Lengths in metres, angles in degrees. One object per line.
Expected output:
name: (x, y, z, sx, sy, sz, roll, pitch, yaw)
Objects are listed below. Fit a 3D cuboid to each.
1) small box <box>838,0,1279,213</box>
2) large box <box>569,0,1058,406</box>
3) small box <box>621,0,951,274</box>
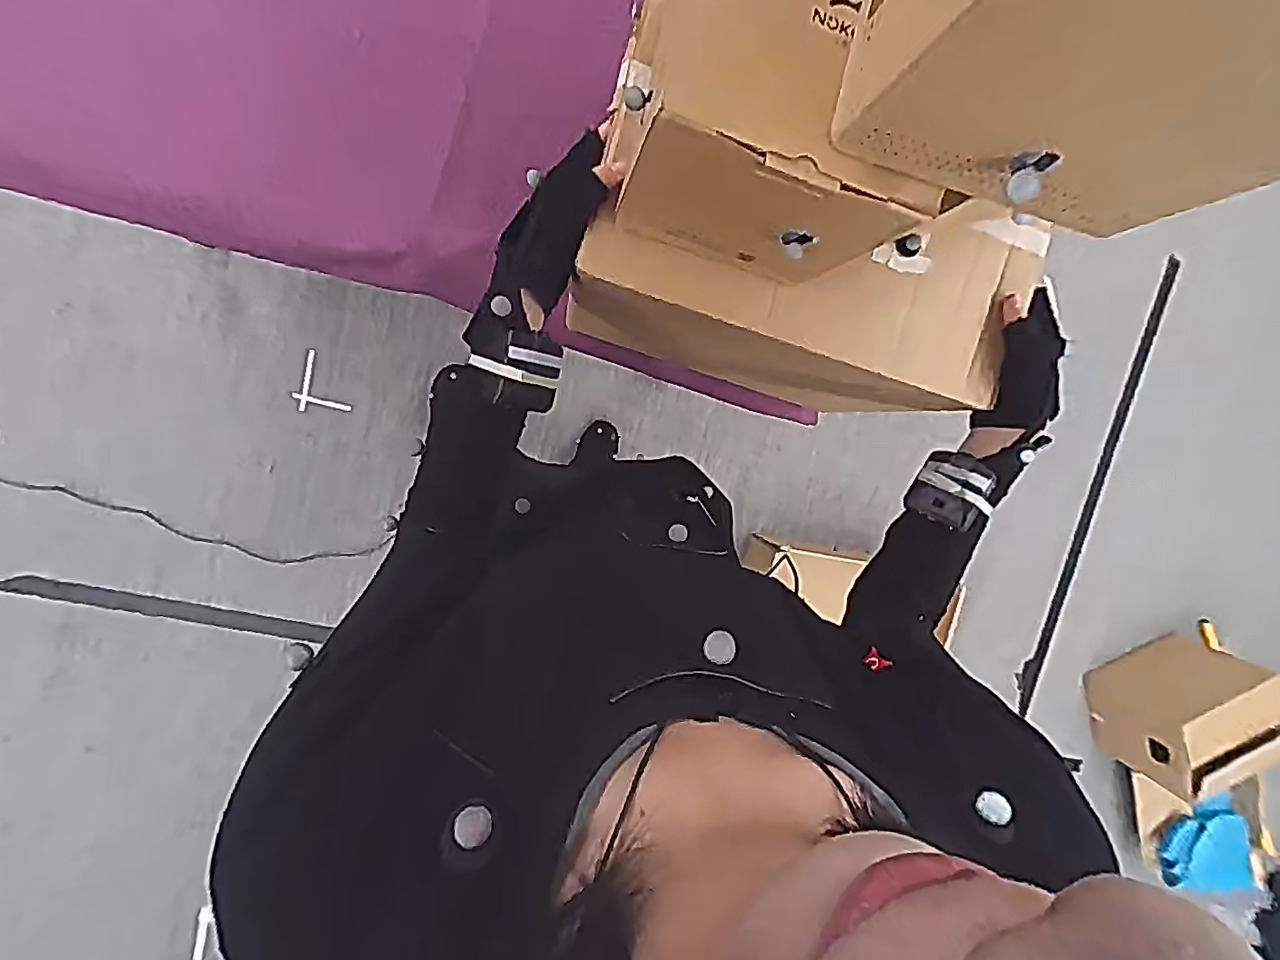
small box: (0.208, -0.224, 0.200, 0.179, 0.176, 0.168, 12, 95, -9)
large box: (0.154, -0.282, 0.601, 0.408, 0.320, 0.320, 15, 95, -11)
small box: (0.091, -0.255, 0.346, 0.168, 0.176, 0.179, 14, 93, -12)
